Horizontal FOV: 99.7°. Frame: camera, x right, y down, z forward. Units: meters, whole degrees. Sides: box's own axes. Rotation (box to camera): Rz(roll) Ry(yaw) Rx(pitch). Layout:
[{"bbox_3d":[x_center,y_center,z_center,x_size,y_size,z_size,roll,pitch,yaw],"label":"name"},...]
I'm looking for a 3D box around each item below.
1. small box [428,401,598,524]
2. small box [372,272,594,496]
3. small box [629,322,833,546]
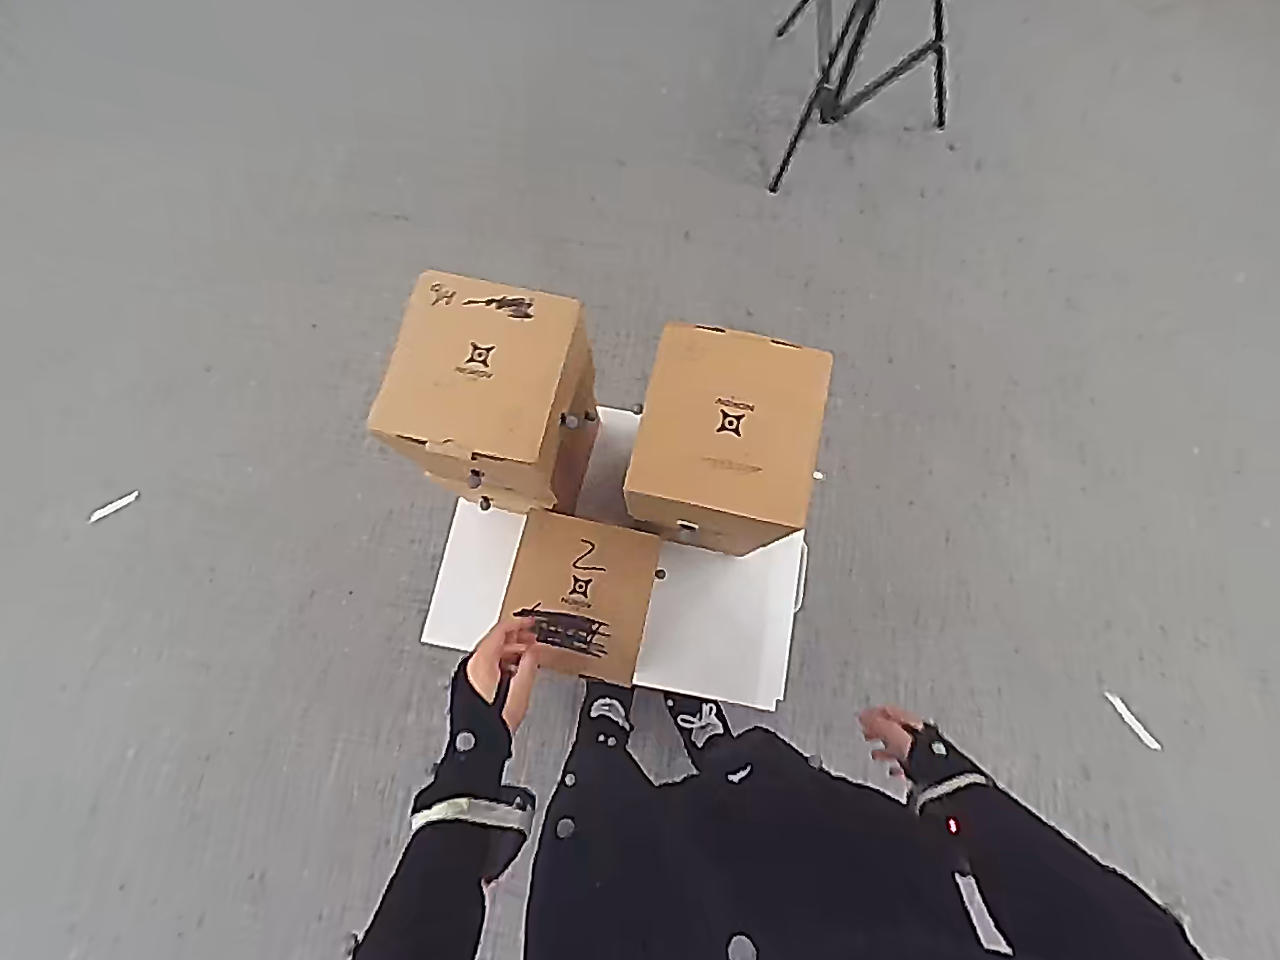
[{"bbox_3d":[-0.160,-0.047,0.750,0.168,0.176,0.179,14,77,3],"label":"small box"},{"bbox_3d":[-0.152,-0.091,0.592,0.168,0.176,0.179,13,78,3],"label":"small box"},{"bbox_3d":[0.088,-0.037,0.577,0.168,0.176,0.179,12,79,4],"label":"small box"}]
